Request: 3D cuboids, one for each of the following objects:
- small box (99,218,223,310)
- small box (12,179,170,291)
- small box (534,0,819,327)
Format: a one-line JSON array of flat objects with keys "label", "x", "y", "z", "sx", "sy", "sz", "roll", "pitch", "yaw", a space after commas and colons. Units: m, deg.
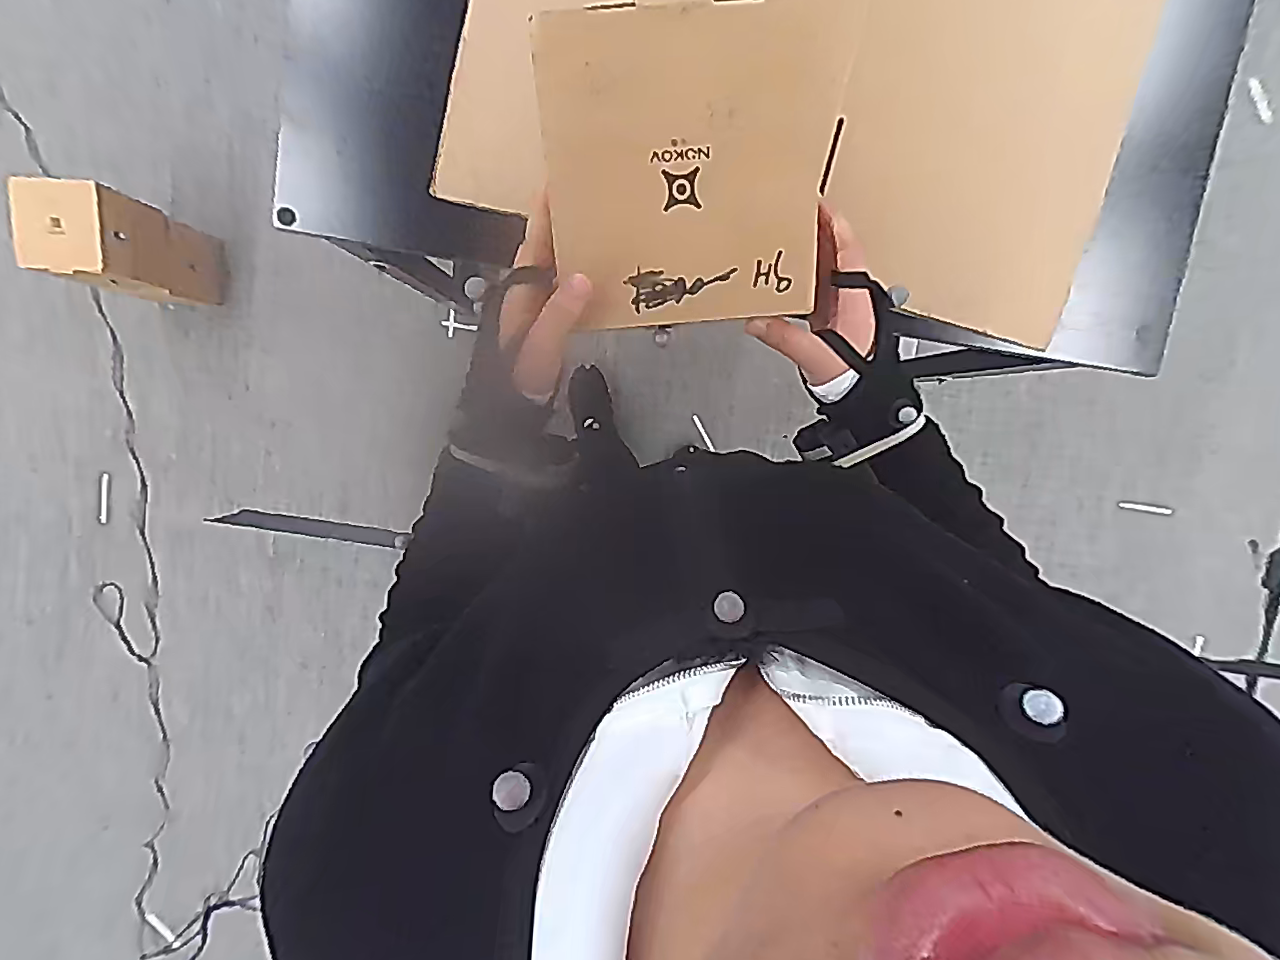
[{"label": "small box", "x": -1.149, "y": -0.521, "z": 1.305, "sx": 0.168, "sy": 0.176, "sz": 0.179, "roll": 5, "pitch": 98, "yaw": -2}, {"label": "small box", "x": -1.145, "y": -0.507, "z": 1.143, "sx": 0.168, "sy": 0.176, "sz": 0.179, "roll": 1, "pitch": 96, "yaw": -3}, {"label": "small box", "x": 0.023, "y": -0.210, "z": 0.402, "sx": 0.168, "sy": 0.176, "sz": 0.179, "roll": -5, "pitch": 106, "yaw": 0}]
